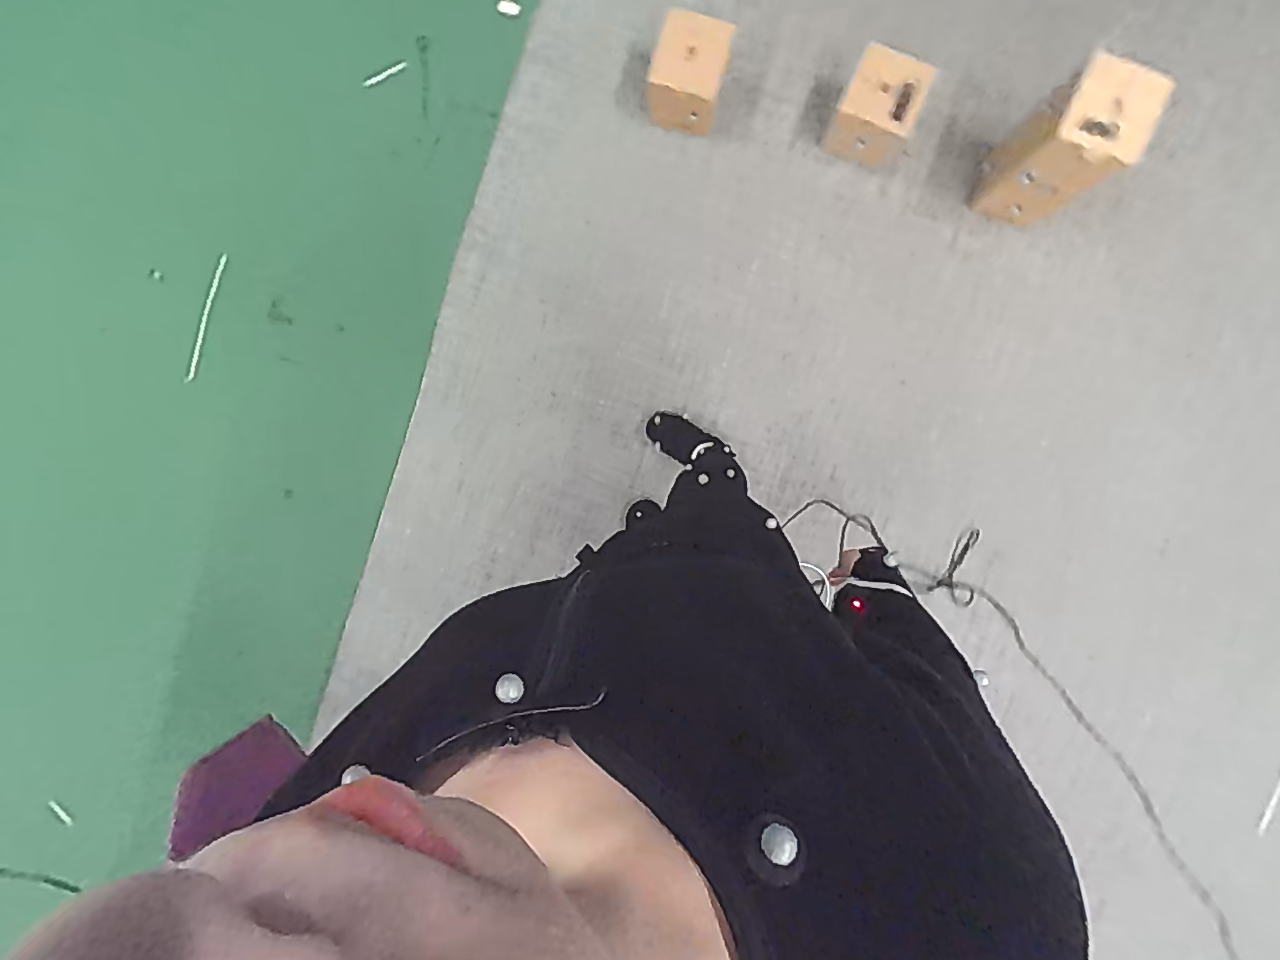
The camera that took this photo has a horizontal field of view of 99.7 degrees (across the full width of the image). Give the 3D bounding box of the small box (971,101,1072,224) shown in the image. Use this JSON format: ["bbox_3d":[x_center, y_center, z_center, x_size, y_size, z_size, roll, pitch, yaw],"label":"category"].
[{"bbox_3d":[0.936,-0.748,1.297,0.168,0.176,0.179,21,95,2],"label":"small box"}]

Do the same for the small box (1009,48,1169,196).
[{"bbox_3d":[0.922,-0.735,1.133,0.168,0.176,0.179,23,94,2],"label":"small box"}]

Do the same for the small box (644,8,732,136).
[{"bbox_3d":[0.117,-0.998,1.340,0.168,0.176,0.179,17,94,2],"label":"small box"}]
